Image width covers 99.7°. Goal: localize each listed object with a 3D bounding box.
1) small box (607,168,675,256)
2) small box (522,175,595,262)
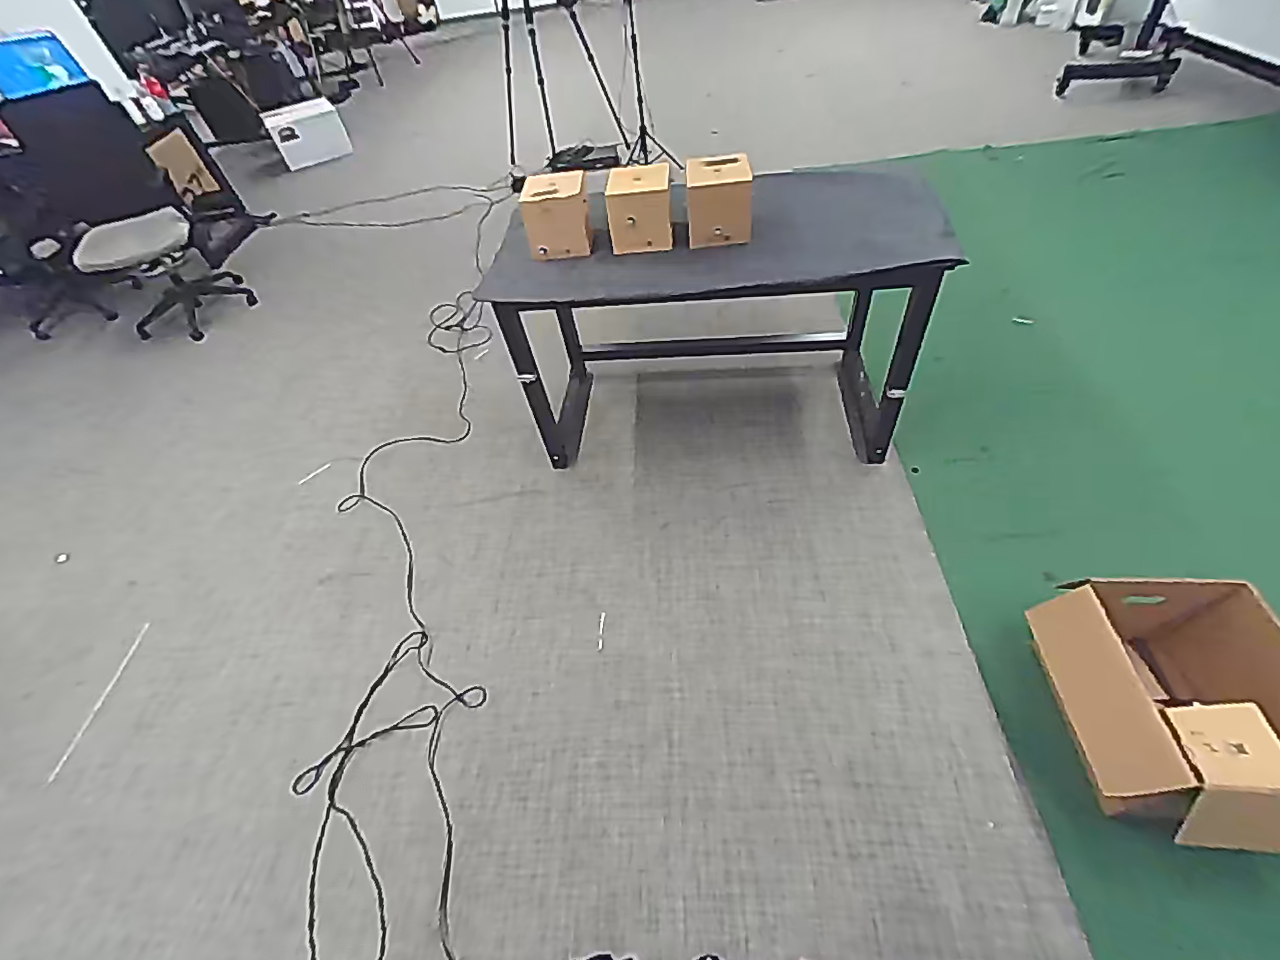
[{"bbox_3d":[0.009,-0.743,1.512,0.168,0.176,0.179,-2,49,7],"label":"small box"},{"bbox_3d":[-0.225,-0.740,1.545,0.168,0.176,0.179,-4,48,5],"label":"small box"}]
